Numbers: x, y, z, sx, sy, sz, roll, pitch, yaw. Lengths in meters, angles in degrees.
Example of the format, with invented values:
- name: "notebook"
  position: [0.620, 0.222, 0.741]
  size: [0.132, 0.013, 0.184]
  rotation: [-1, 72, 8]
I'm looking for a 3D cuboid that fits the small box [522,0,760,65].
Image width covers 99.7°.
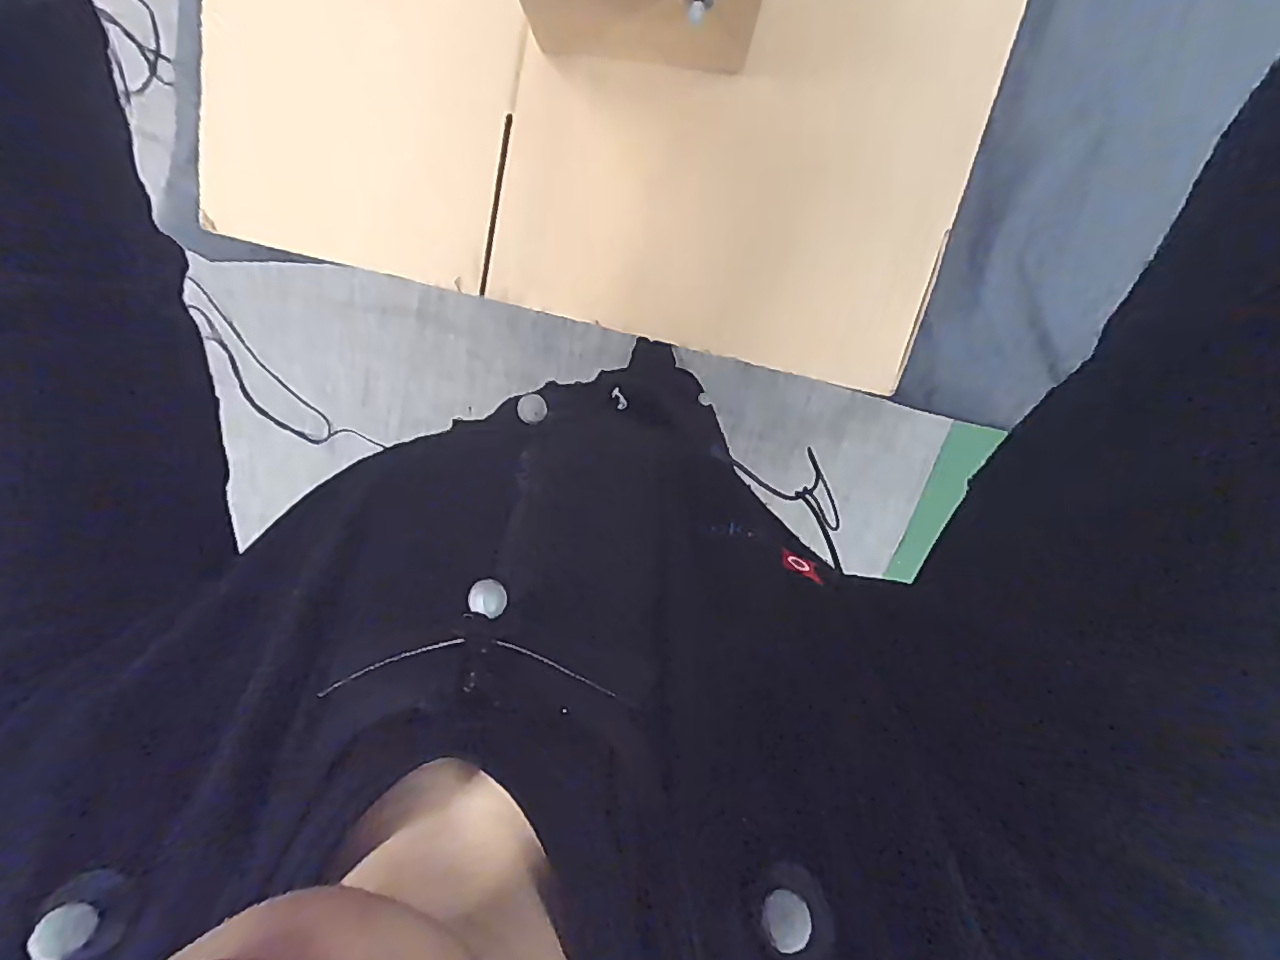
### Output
- name: "small box"
  position: [0.007, -0.407, 0.350]
  size: [0.179, 0.176, 0.168]
  rotation: [7, 102, 2]
